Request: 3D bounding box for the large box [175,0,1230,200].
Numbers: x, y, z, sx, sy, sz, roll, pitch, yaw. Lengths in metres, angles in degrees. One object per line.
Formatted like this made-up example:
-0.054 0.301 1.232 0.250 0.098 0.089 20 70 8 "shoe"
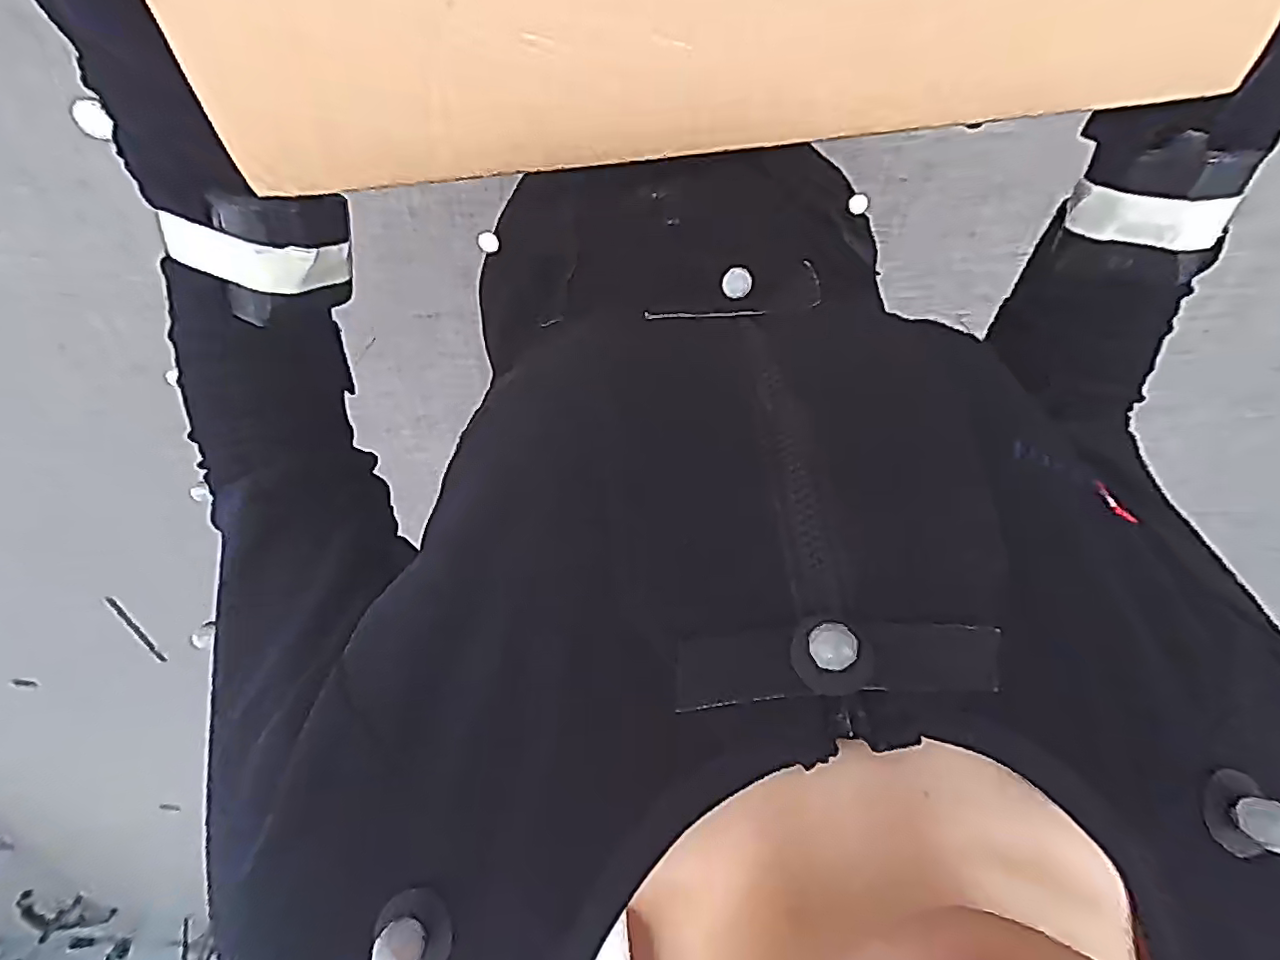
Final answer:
0.015 -0.359 0.231 0.408 0.320 0.320 -6 134 1 "large box"
